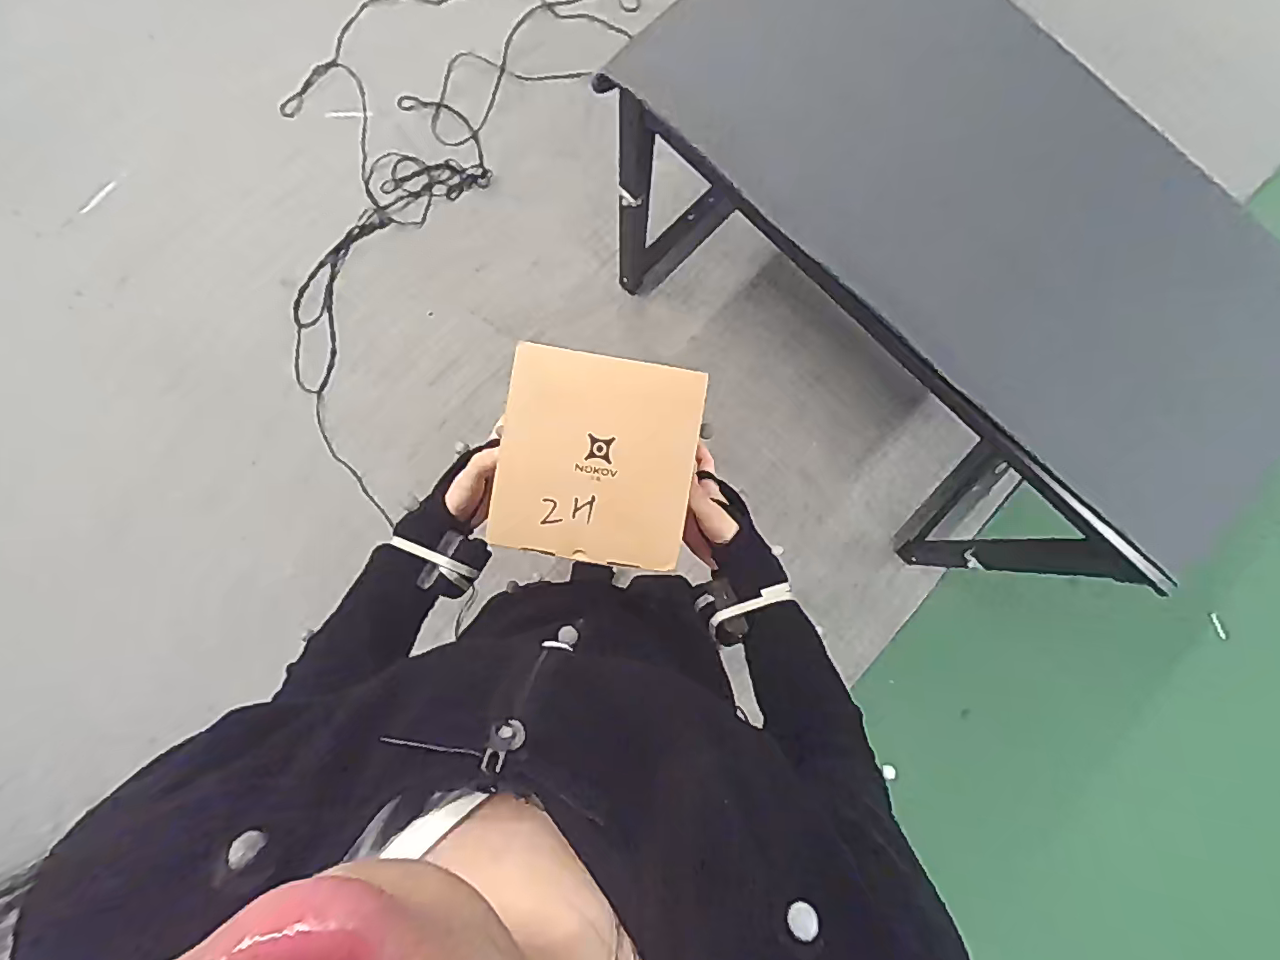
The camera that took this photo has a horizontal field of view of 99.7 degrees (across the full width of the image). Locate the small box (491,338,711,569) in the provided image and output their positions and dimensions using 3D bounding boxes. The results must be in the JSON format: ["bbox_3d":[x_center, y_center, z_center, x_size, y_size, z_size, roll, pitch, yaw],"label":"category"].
[{"bbox_3d":[-0.036,-0.023,0.542,0.168,0.176,0.179,10,91,-2],"label":"small box"}]
